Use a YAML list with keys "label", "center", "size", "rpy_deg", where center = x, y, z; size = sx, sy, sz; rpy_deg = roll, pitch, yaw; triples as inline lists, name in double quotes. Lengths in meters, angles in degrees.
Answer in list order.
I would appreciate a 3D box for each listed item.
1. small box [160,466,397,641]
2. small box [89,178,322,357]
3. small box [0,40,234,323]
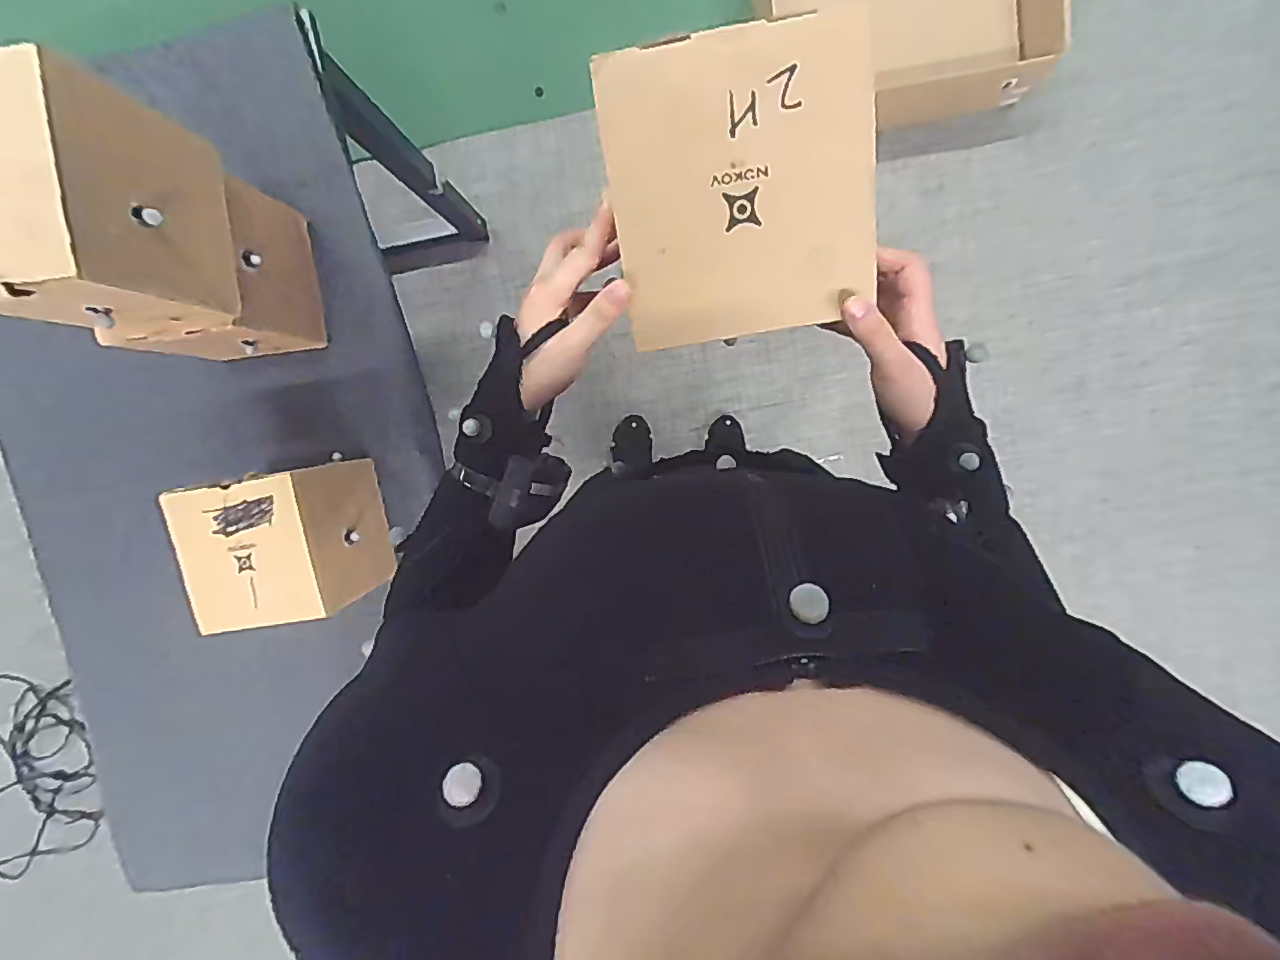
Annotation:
- label: "small box"
  center: [-0.441, 0.080, 0.690]
  size: [0.168, 0.176, 0.179]
  rpy_deg: [-9, 98, 5]
- label: "small box"
  center: [-0.520, -0.249, 0.655]
  size: [0.168, 0.176, 0.179]
  rpy_deg: [-6, 96, 3]
- label: "small box"
  center: [-0.513, -0.243, 0.490]
  size: [0.168, 0.176, 0.179]
  rpy_deg: [-3, 97, 3]
